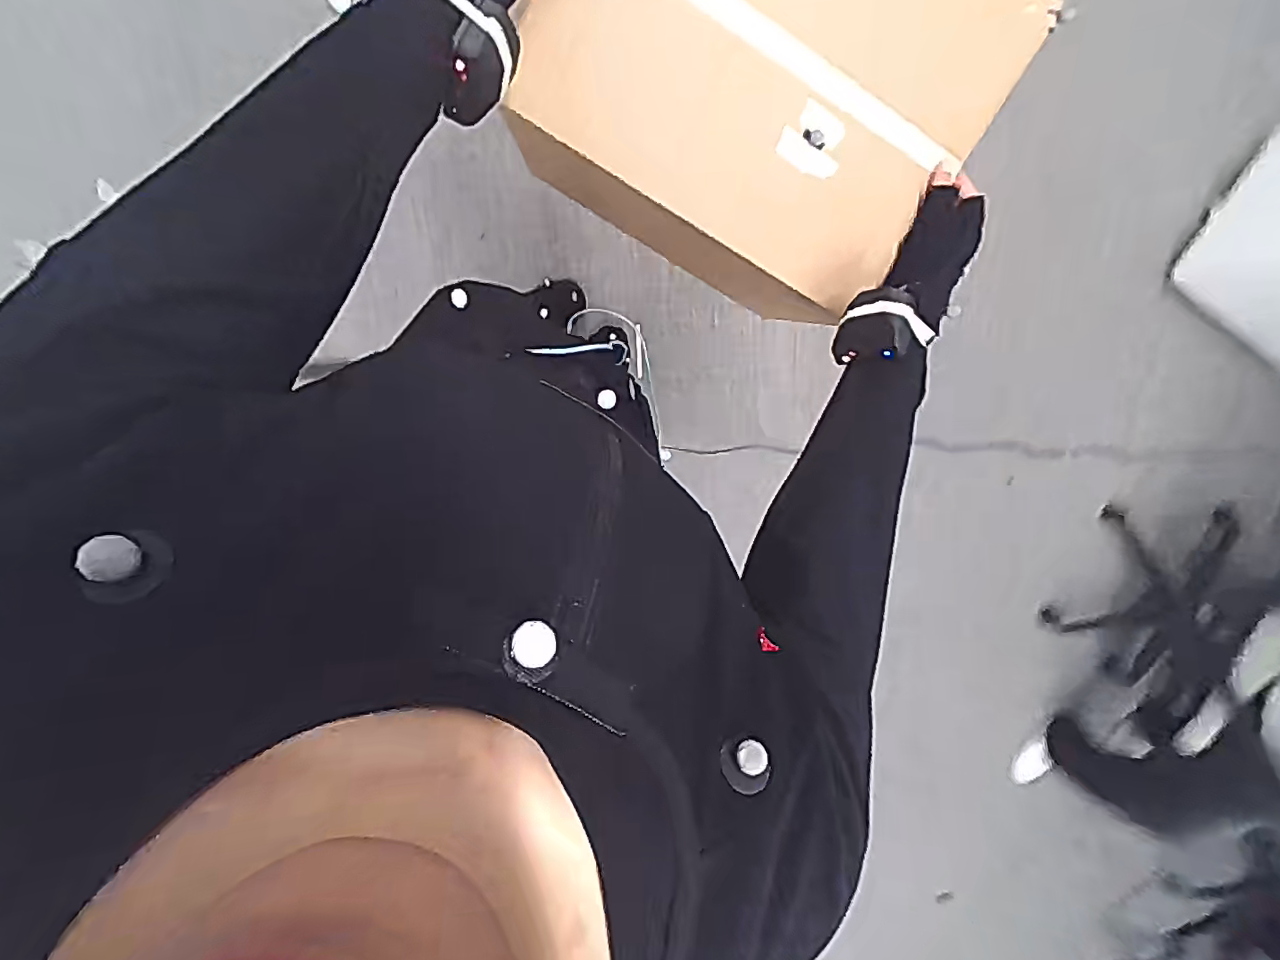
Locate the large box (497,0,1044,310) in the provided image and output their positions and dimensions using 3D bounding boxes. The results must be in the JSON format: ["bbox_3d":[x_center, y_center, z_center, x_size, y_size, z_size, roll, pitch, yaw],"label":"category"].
[{"bbox_3d":[0.103,-0.430,0.613,0.408,0.320,0.320,26,106,-13],"label":"large box"}]
